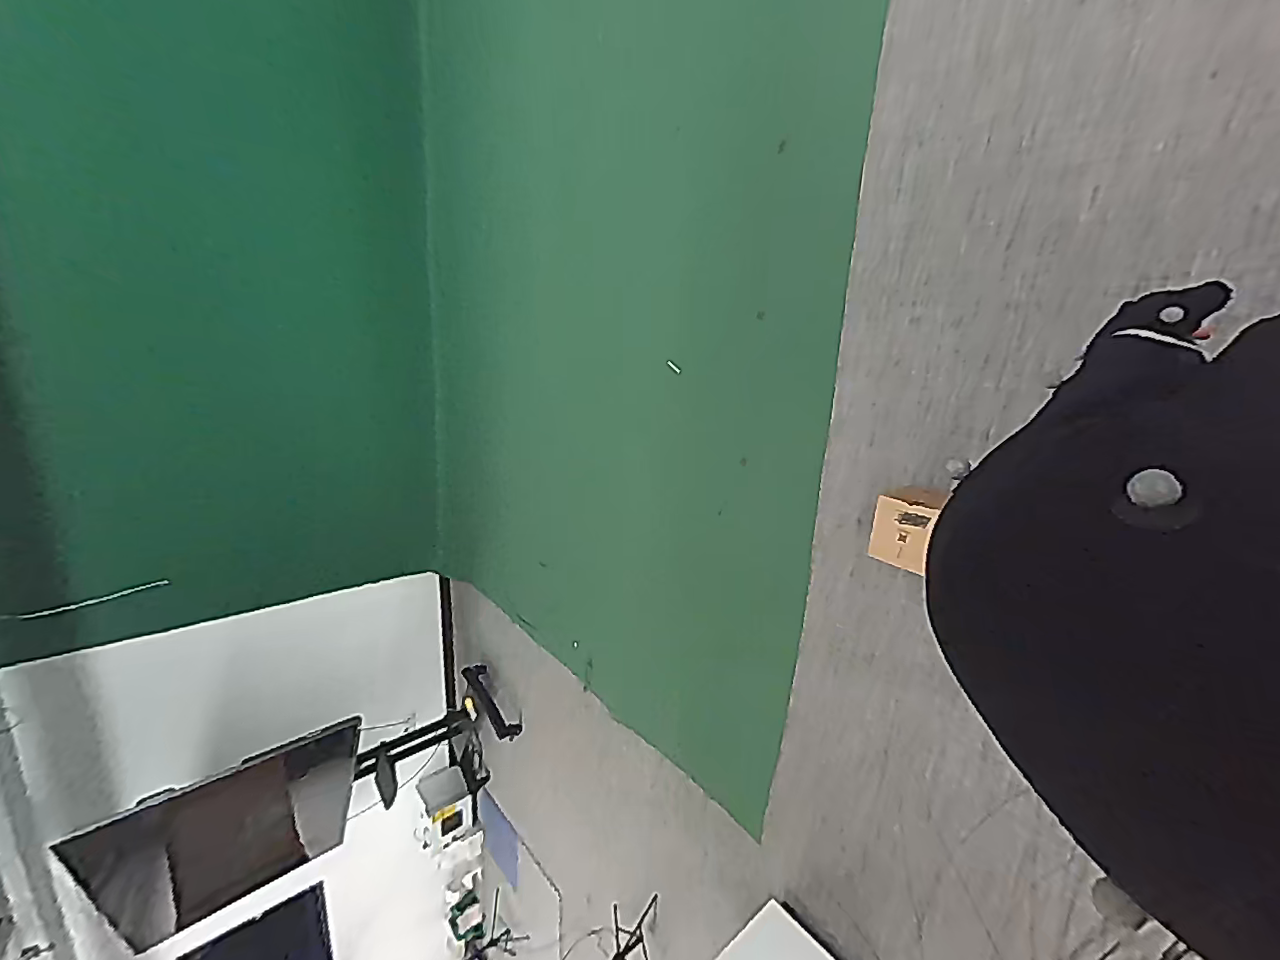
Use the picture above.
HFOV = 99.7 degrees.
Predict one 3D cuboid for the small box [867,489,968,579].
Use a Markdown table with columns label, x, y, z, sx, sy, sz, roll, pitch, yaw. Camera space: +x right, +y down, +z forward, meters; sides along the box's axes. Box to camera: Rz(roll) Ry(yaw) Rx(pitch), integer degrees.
| label | x | y | z | sx | sy | sz | roll | pitch | yaw |
| --- | --- | --- | --- | --- | --- | --- | --- | --- | --- |
| small box | 0.723 | 0.130 | 1.403 | 0.168 | 0.176 | 0.179 | 22 | 113 | 46 |
